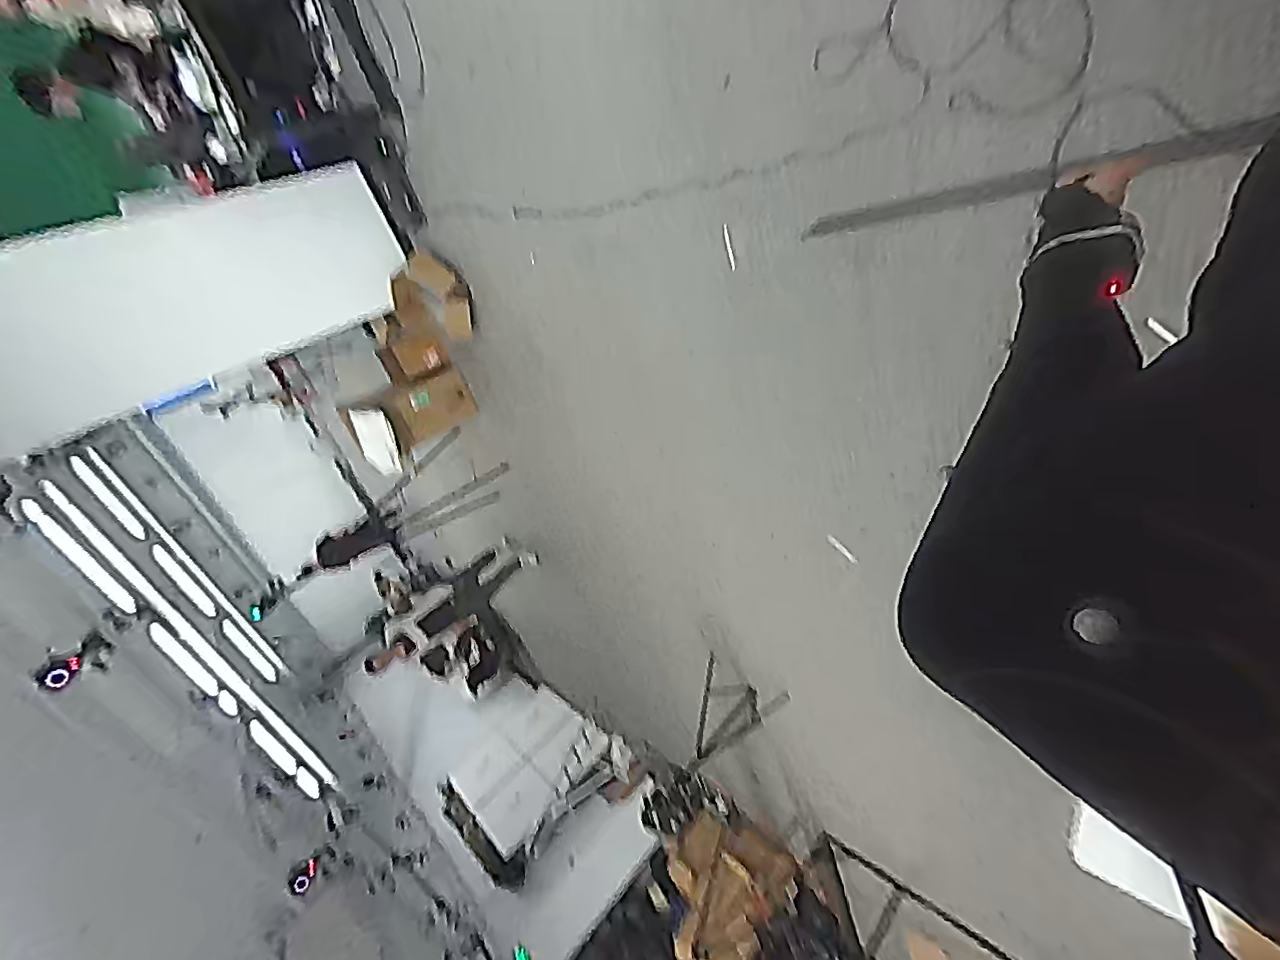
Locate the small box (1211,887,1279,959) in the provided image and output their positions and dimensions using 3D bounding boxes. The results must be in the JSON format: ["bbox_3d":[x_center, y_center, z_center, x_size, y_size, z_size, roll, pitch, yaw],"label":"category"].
[{"bbox_3d":[1.339,1.011,1.126,0.179,0.176,0.168,18,135,45],"label":"small box"}]
